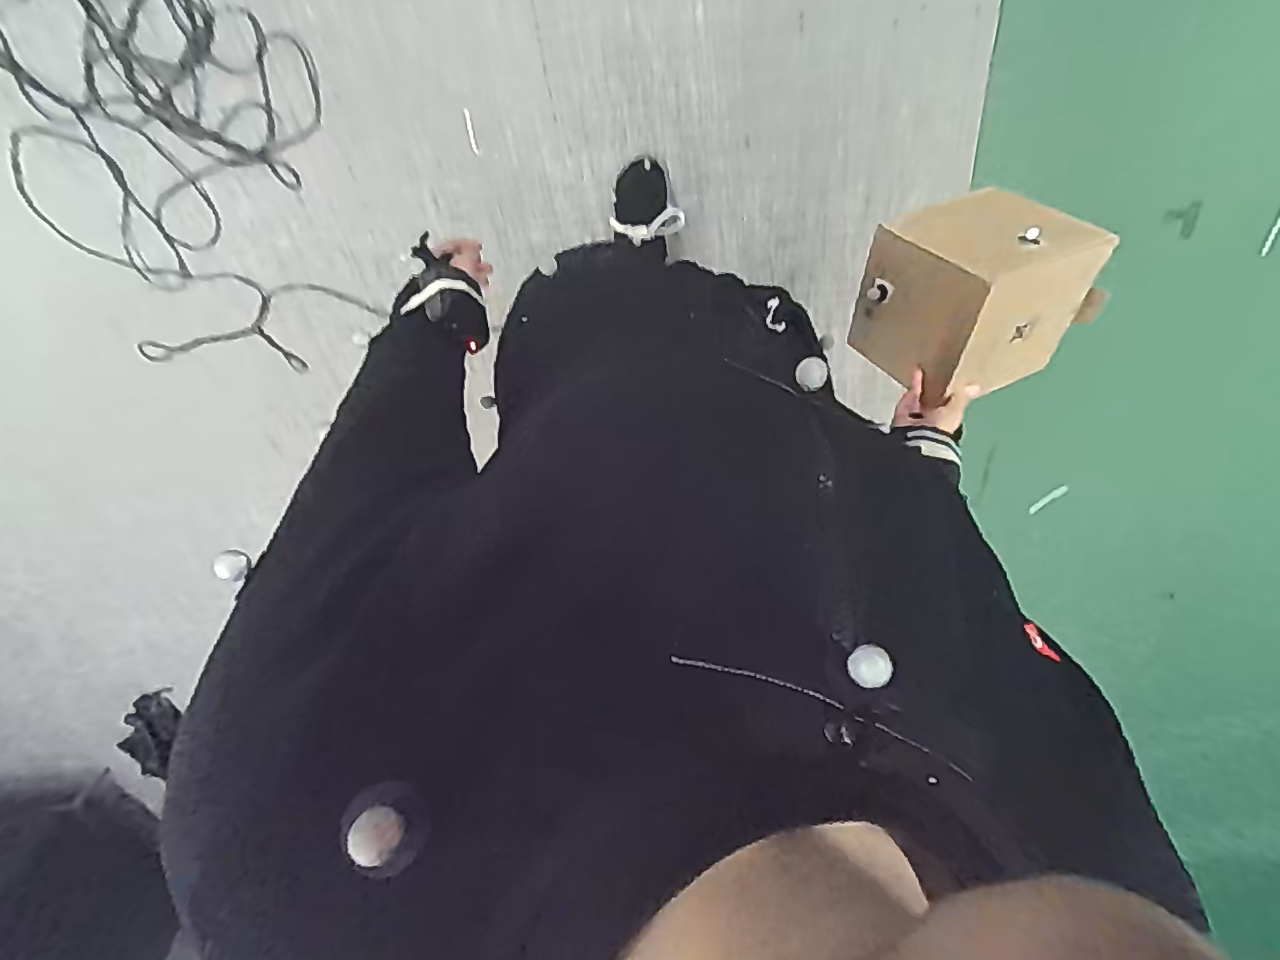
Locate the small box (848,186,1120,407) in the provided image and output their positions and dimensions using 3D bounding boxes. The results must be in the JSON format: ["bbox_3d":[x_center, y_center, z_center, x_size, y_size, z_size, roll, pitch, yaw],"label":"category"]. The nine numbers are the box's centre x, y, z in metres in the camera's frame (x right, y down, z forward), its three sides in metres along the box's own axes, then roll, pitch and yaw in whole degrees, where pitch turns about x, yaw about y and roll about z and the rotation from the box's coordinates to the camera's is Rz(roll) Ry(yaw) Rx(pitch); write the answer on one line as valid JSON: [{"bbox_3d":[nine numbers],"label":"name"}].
[{"bbox_3d":[0.382,-0.221,0.636,0.179,0.176,0.168,-22,139,-13],"label":"small box"}]
